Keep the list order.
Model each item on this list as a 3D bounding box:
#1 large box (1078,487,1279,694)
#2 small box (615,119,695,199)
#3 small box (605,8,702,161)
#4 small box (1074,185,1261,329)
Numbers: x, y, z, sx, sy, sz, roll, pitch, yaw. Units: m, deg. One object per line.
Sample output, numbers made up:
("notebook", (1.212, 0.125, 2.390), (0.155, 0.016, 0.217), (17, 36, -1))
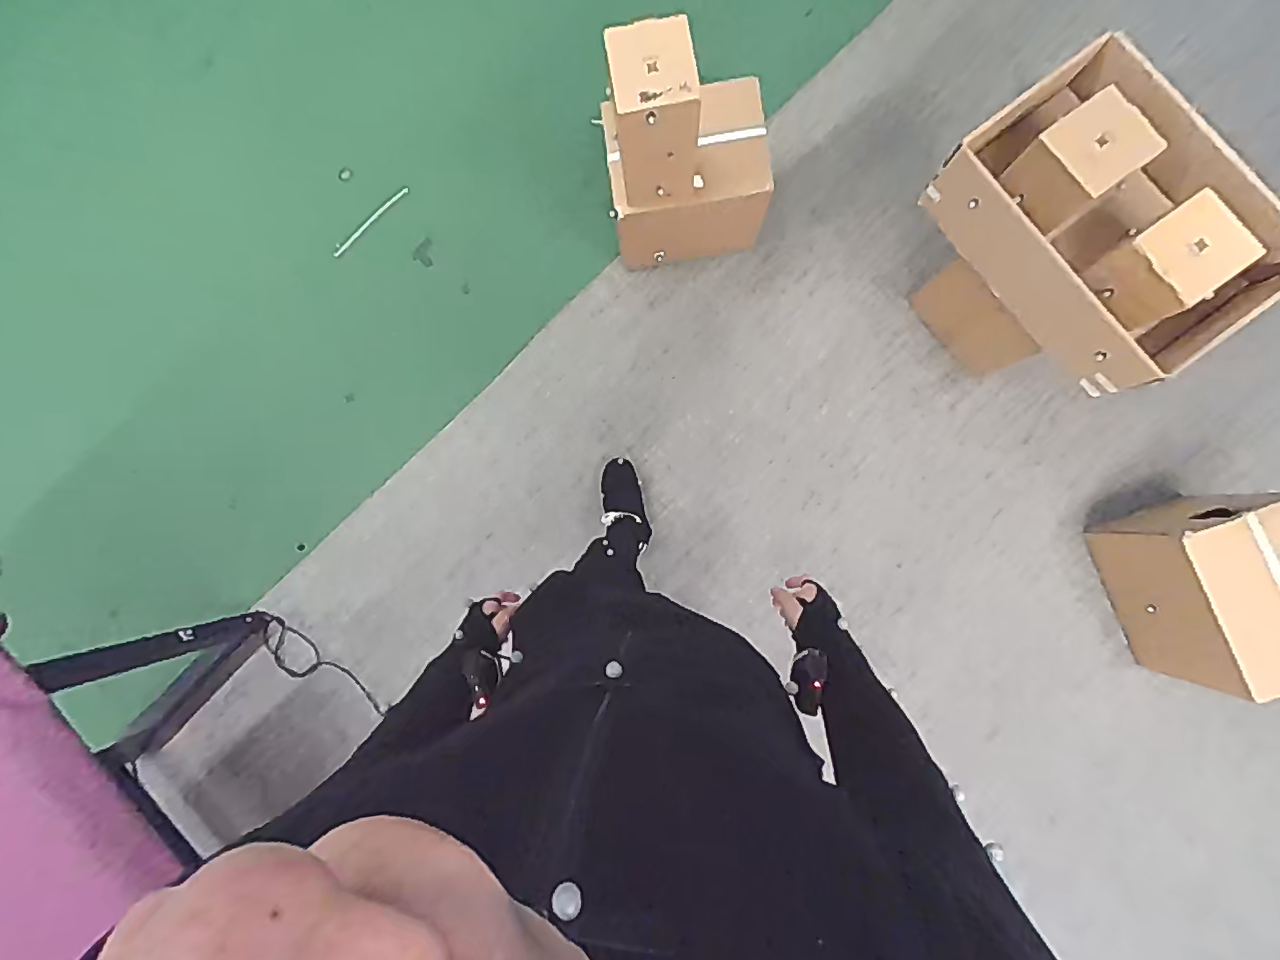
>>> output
("large box", (1.454, 0.262, 1.386), (0.320, 0.320, 0.408), (-20, 85, 1))
("small box", (0.031, -0.797, 1.265), (0.168, 0.176, 0.179), (-9, 87, 2))
("small box", (0.027, -0.795, 1.101), (0.168, 0.176, 0.179), (-9, 86, 2))
("small box", (1.051, -0.440, 1.095), (0.179, 0.176, 0.168), (-36, 86, 1))
